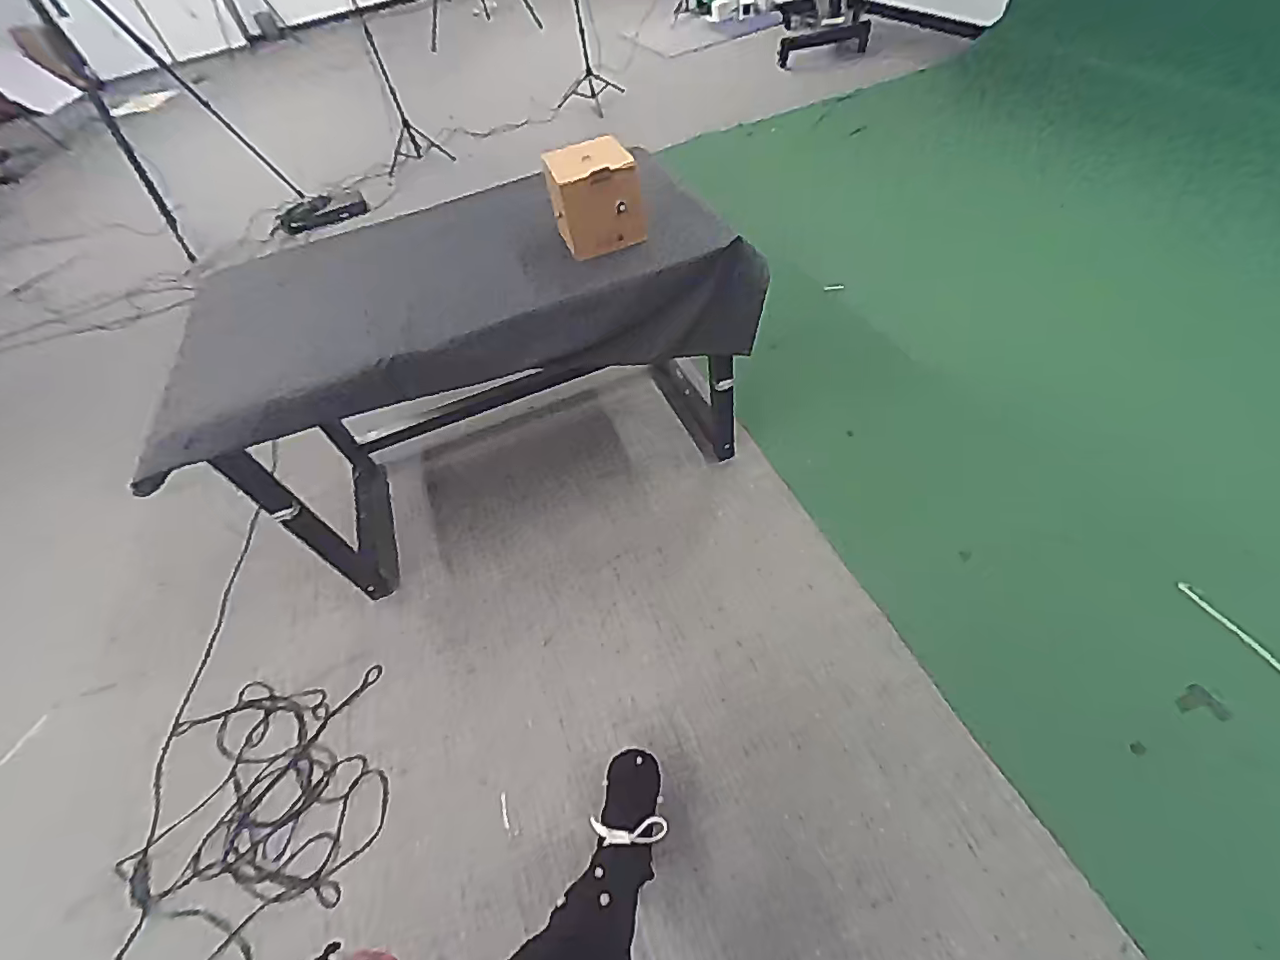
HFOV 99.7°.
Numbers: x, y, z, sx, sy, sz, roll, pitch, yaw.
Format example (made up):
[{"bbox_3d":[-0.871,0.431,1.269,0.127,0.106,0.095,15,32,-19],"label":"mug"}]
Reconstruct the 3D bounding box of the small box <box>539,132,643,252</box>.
[{"bbox_3d":[-0.102,-0.614,1.166,0.168,0.176,0.179,-20,50,-7],"label":"small box"}]
